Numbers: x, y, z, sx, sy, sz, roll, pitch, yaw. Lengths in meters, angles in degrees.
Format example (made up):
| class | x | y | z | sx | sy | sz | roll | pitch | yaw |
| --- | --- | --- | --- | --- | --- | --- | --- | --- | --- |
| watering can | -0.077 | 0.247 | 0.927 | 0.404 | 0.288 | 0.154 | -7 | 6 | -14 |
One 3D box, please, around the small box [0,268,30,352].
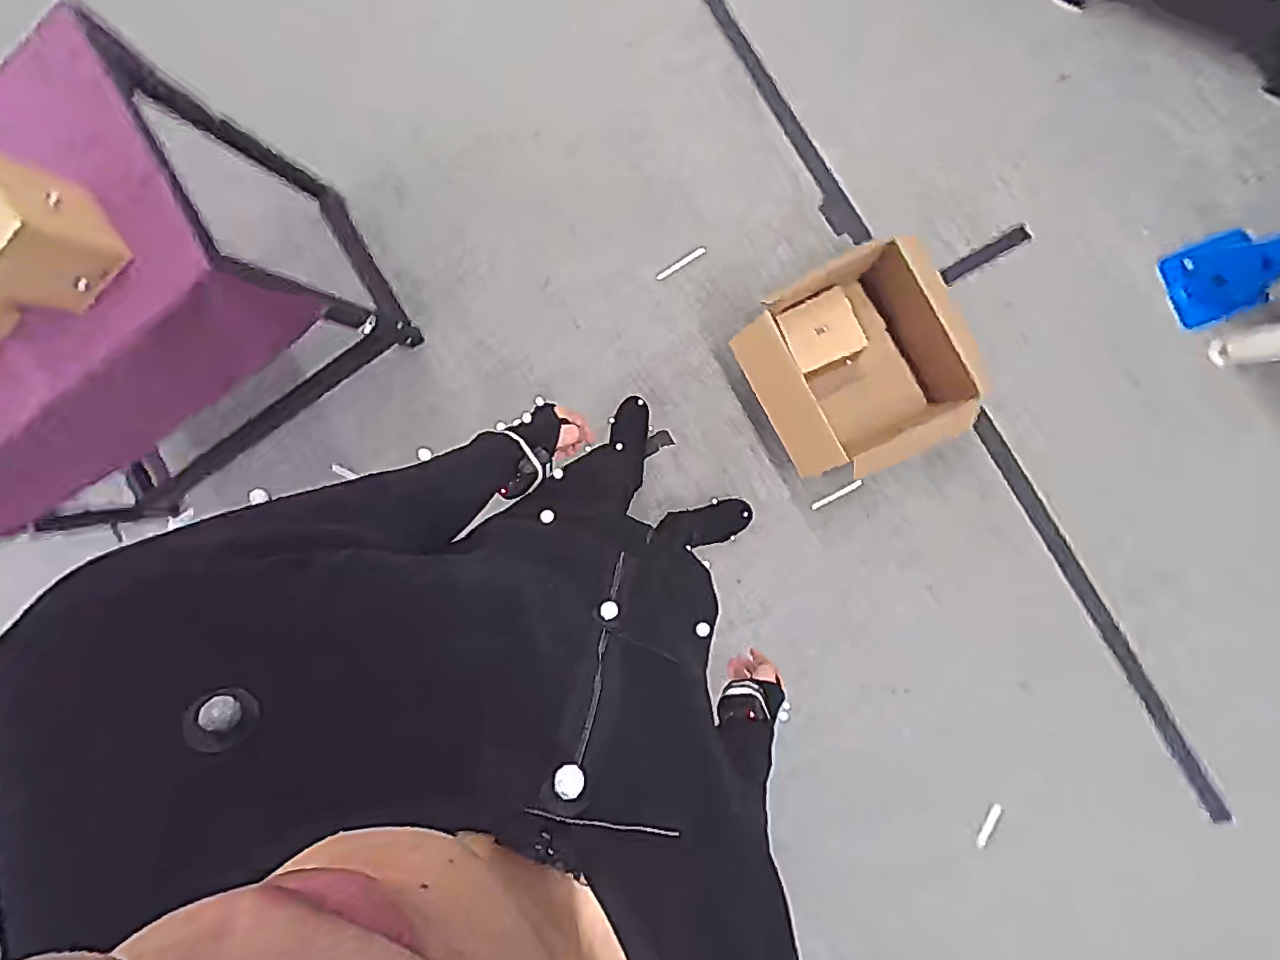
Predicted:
| class | x | y | z | sx | sy | sz | roll | pitch | yaw |
| --- | --- | --- | --- | --- | --- | --- | --- | --- | --- |
| small box | -1.354 | -0.347 | 1.032 | 0.168 | 0.176 | 0.179 | -36 | 87 | 10 |
